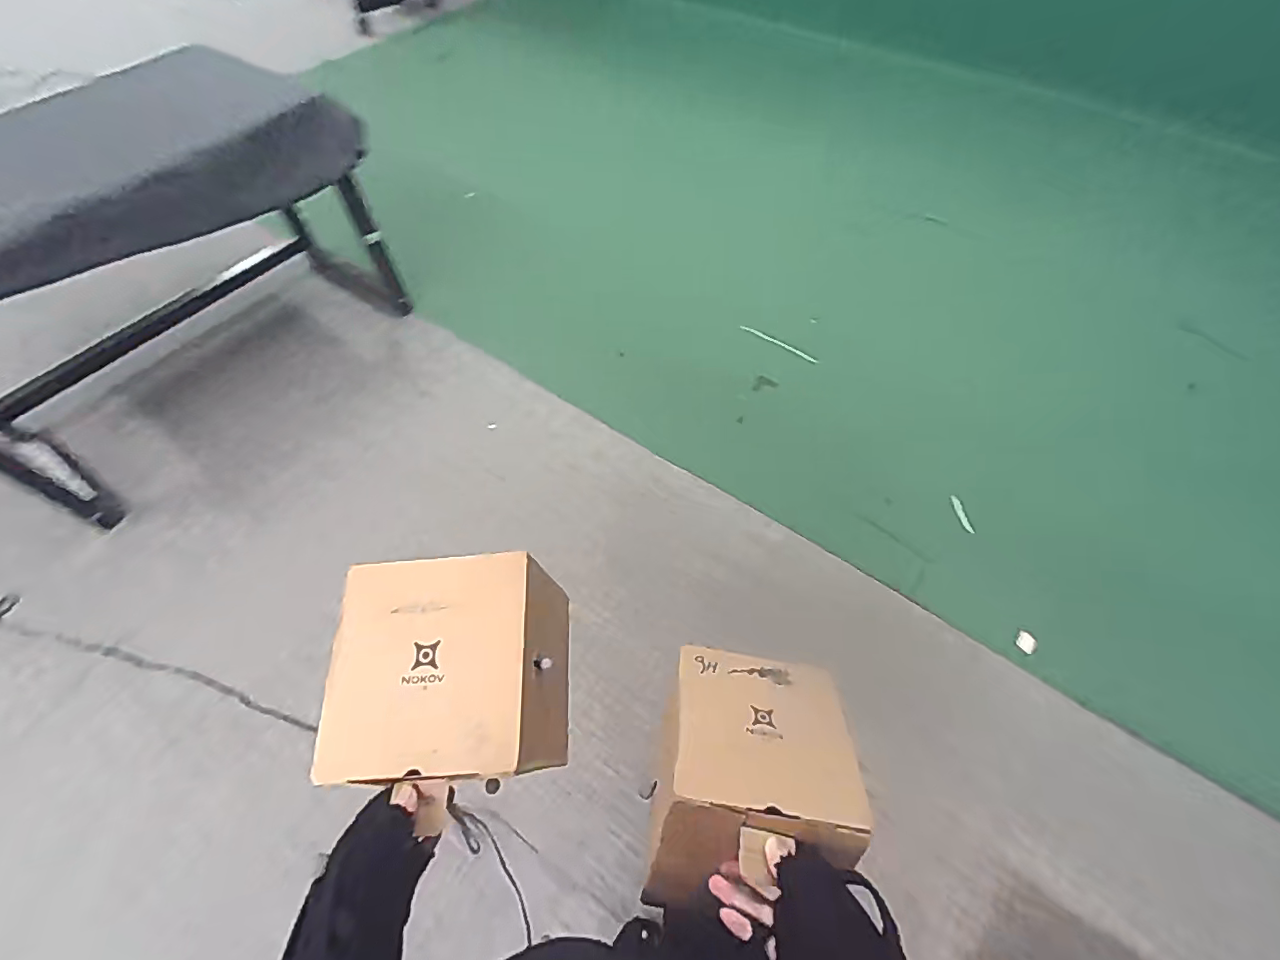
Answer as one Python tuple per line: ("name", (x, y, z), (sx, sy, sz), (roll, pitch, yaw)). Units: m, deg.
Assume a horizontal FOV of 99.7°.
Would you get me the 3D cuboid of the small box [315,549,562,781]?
("small box", (-0.174, 0.181, 0.527), (0.168, 0.176, 0.179), (-7, 65, 3))
